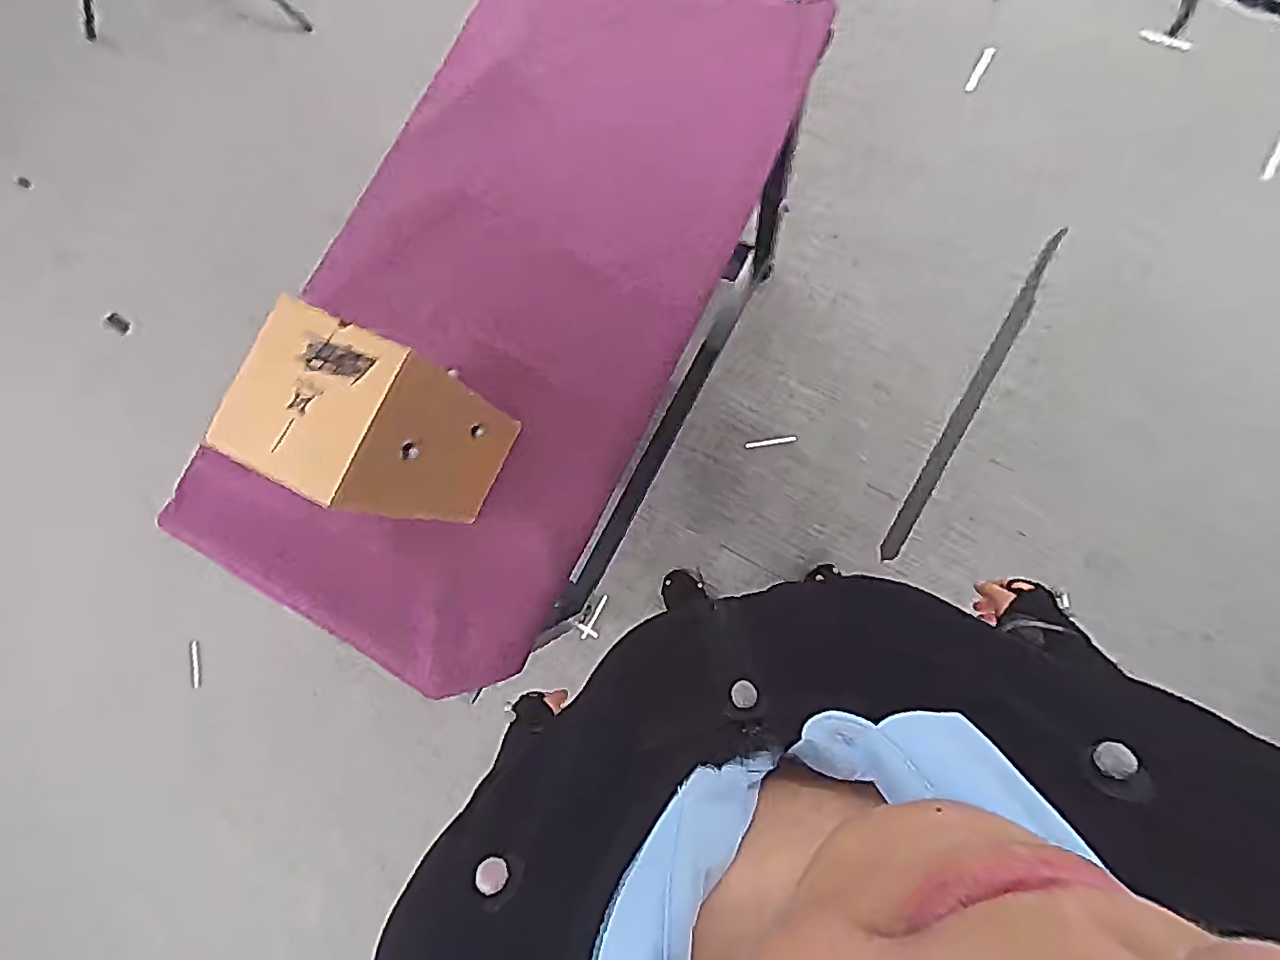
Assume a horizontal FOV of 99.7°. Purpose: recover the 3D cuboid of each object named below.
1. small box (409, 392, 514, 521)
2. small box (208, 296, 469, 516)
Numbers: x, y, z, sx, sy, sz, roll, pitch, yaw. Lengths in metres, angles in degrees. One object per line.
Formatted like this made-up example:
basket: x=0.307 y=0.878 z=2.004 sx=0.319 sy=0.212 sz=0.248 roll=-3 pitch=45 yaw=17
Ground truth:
small box: x=-0.308 y=-0.050 z=0.785 sx=0.168 sy=0.176 sz=0.179 roll=25 pitch=86 yaw=10
small box: x=-0.323 y=-0.072 z=0.622 sx=0.168 sy=0.176 sz=0.179 roll=24 pitch=86 yaw=10
